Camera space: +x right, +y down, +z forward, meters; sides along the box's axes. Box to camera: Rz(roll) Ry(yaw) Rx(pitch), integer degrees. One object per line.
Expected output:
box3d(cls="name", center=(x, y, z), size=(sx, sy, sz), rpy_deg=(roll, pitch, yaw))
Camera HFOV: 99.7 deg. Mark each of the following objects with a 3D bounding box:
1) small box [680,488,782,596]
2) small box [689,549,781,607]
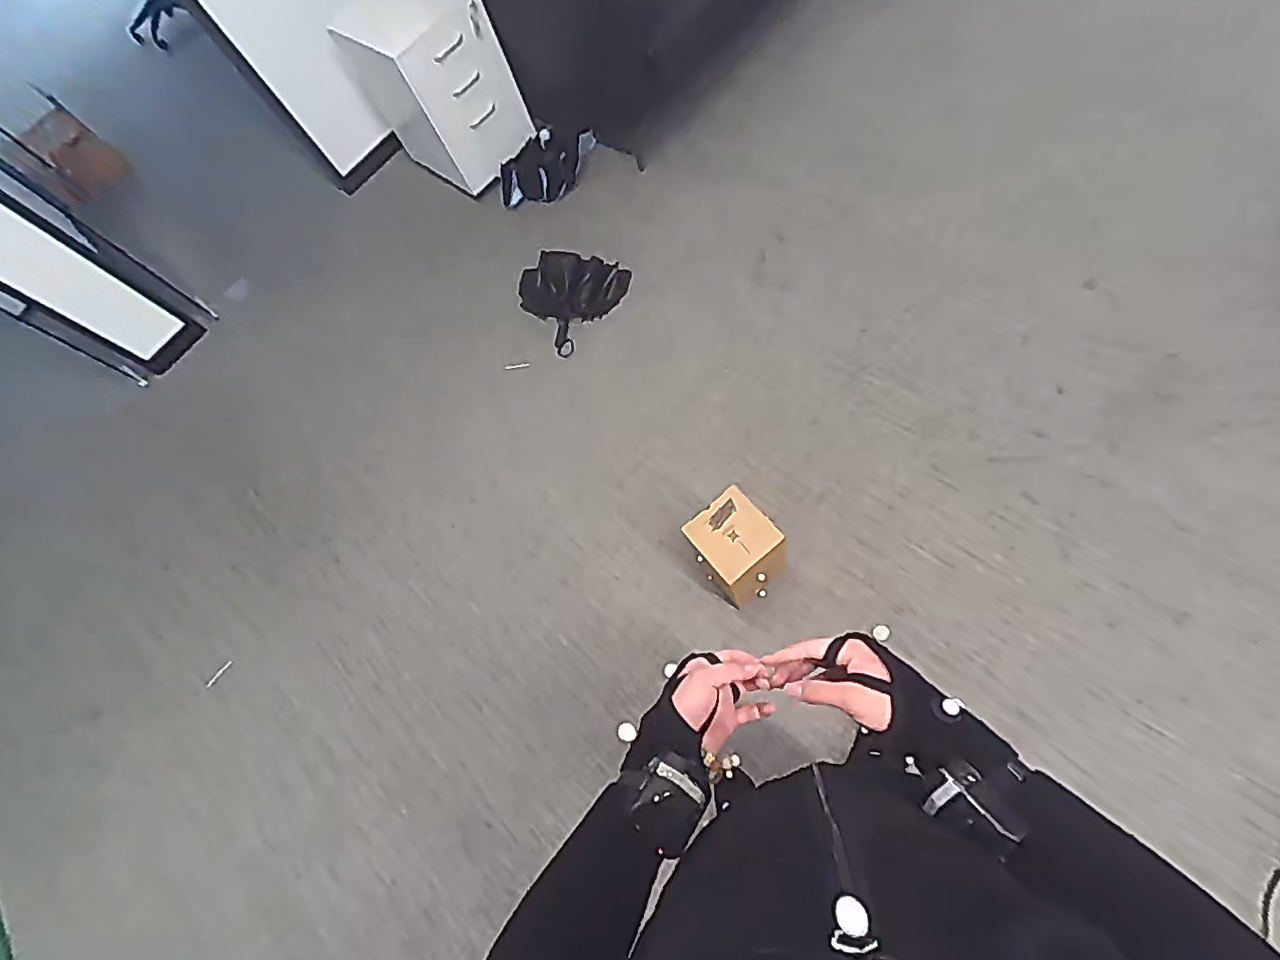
box3d(cls="small box", center=(0.220, 0.156, 1.301), size=(0.168, 0.176, 0.179), rpy_deg=(-39, 65, -3))
box3d(cls="small box", center=(0.256, 0.218, 1.450), size=(0.168, 0.176, 0.179), rpy_deg=(-40, 66, -4))
